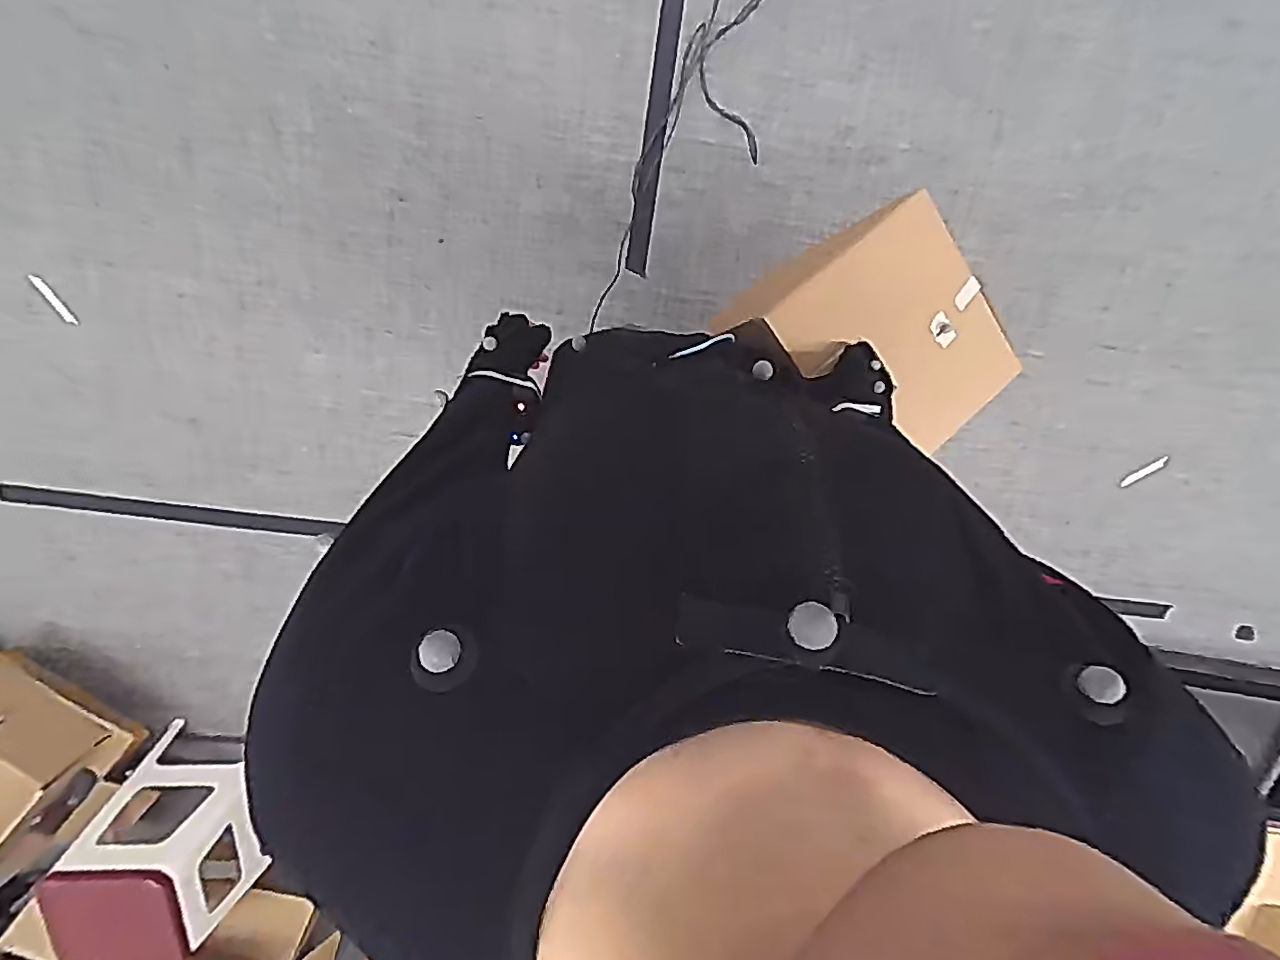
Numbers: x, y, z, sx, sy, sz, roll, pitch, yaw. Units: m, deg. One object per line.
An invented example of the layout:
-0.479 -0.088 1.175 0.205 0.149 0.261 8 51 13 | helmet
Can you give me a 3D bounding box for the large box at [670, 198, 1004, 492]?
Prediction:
0.310 -0.208 0.957 0.320 0.408 0.320 -38 103 -8 | large box
